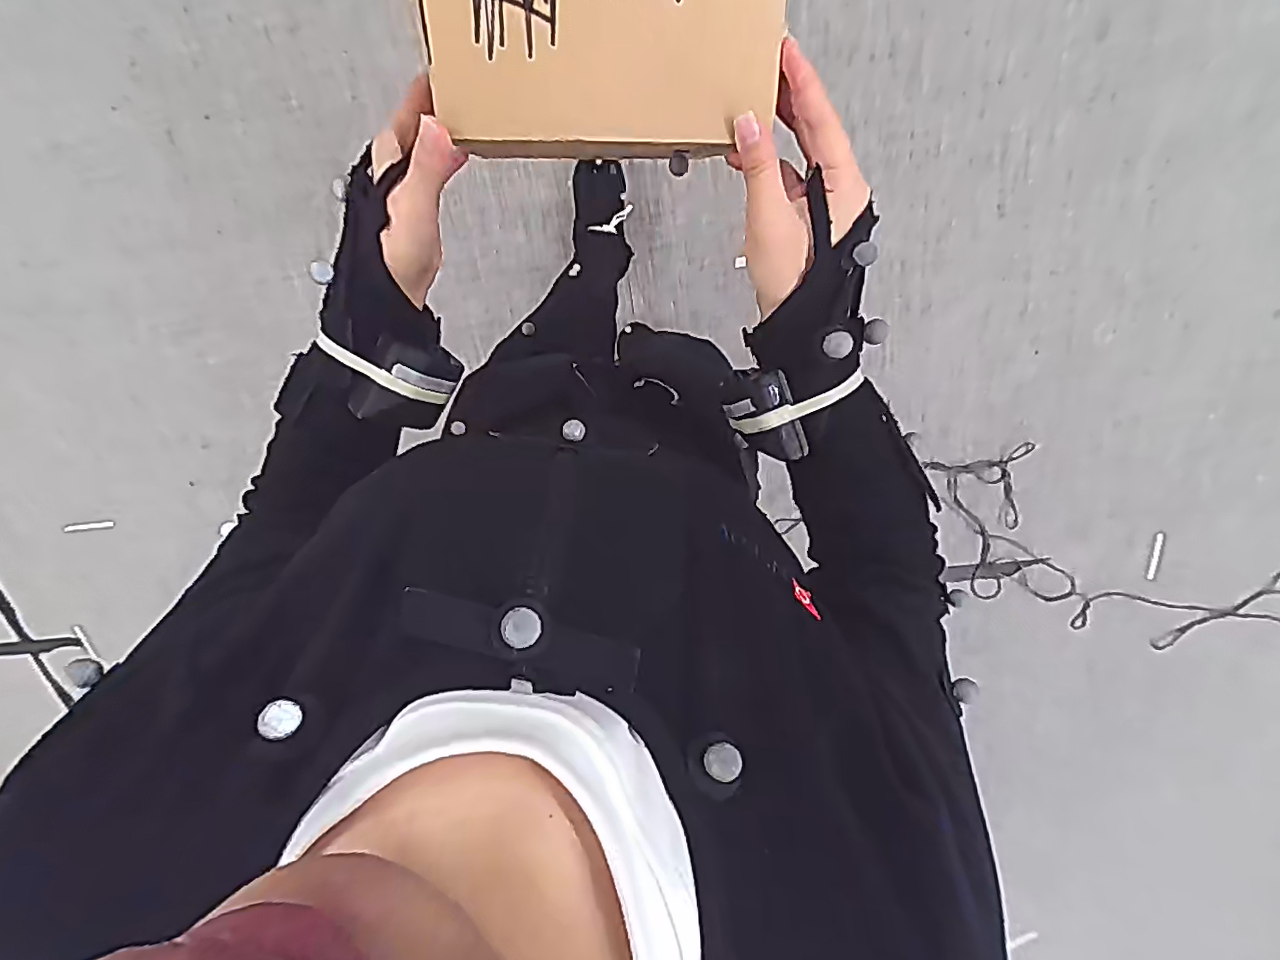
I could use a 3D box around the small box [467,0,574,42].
[{"bbox_3d":[-0.222,-0.937,0.981,0.179,0.176,0.168,-7,111,6],"label":"small box"}]
